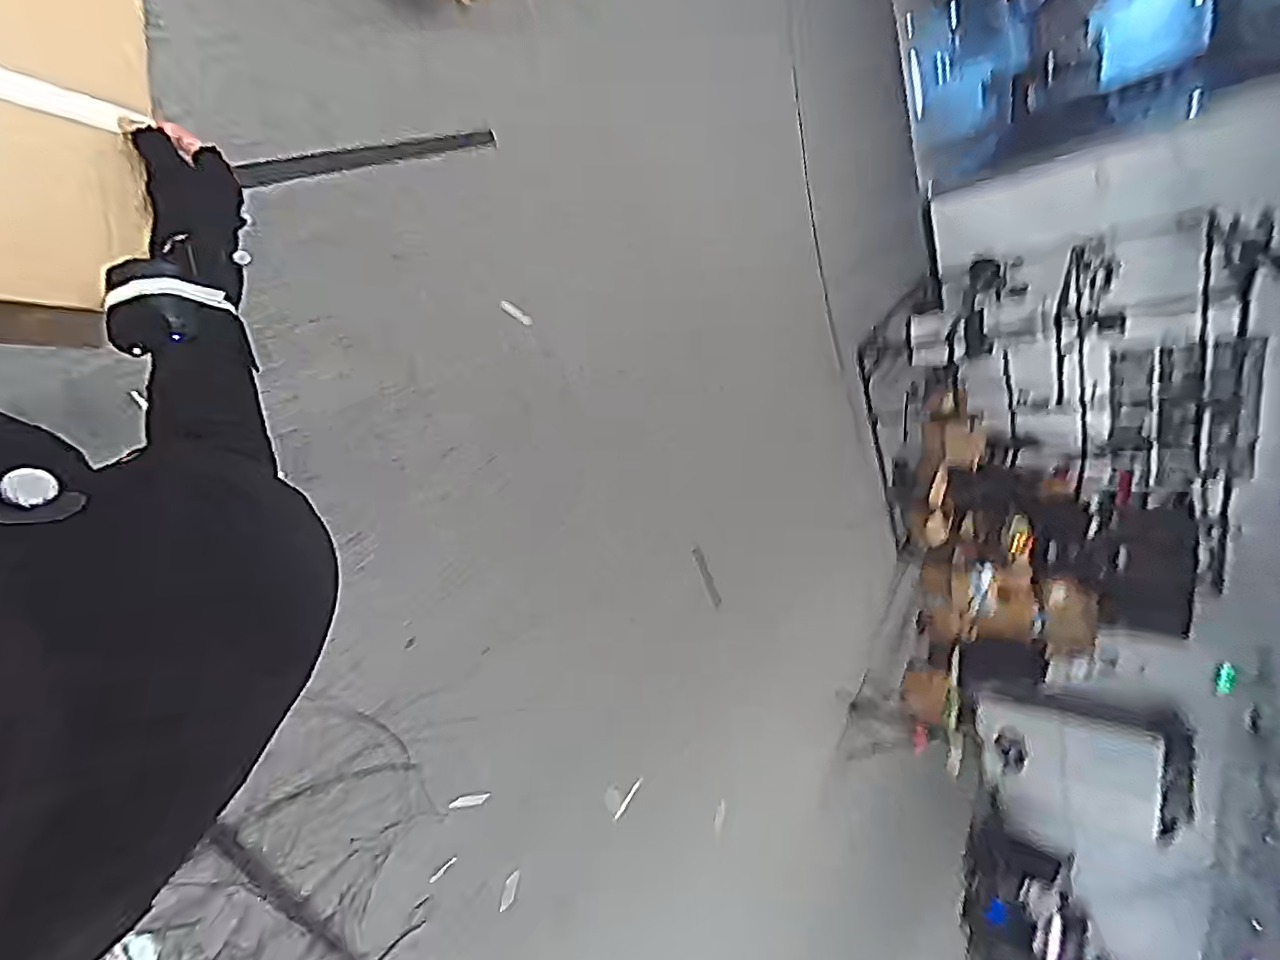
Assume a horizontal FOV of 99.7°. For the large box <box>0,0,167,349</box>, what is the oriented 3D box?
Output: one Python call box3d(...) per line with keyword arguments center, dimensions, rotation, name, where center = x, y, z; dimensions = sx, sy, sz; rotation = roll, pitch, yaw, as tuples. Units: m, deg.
box3d(center=(-0.675, -0.285, 0.407), dimensions=(0.408, 0.320, 0.320), rotation=(-9, 101, -55), name="large box")
